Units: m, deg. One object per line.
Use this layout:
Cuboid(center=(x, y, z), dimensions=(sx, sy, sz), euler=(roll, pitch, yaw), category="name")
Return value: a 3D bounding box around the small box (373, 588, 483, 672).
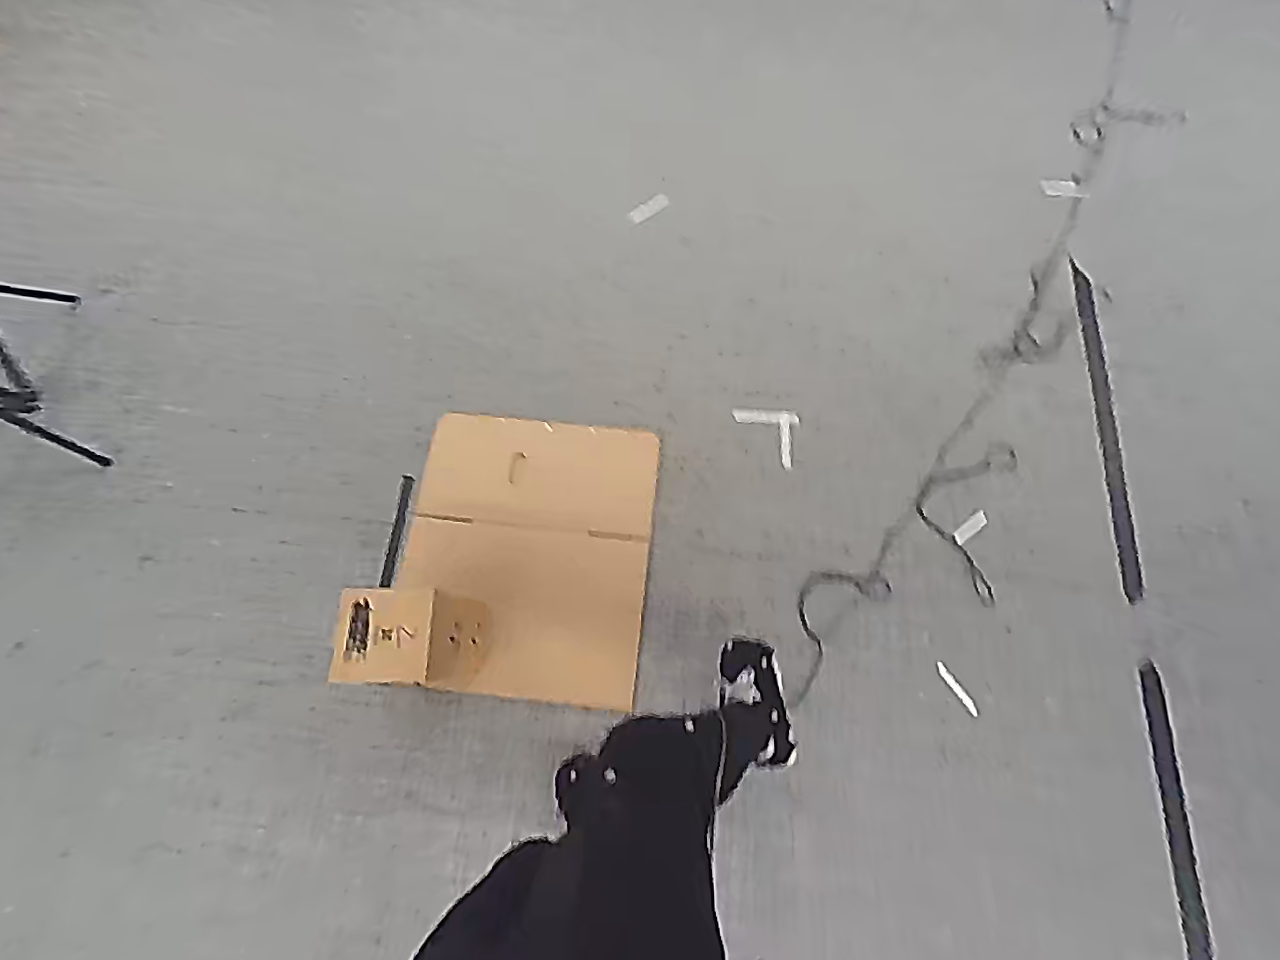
Cuboid(center=(-0.464, 0.337, 1.207), dimensions=(0.179, 0.176, 0.168), euler=(-4, 73, -1), category="small box")
